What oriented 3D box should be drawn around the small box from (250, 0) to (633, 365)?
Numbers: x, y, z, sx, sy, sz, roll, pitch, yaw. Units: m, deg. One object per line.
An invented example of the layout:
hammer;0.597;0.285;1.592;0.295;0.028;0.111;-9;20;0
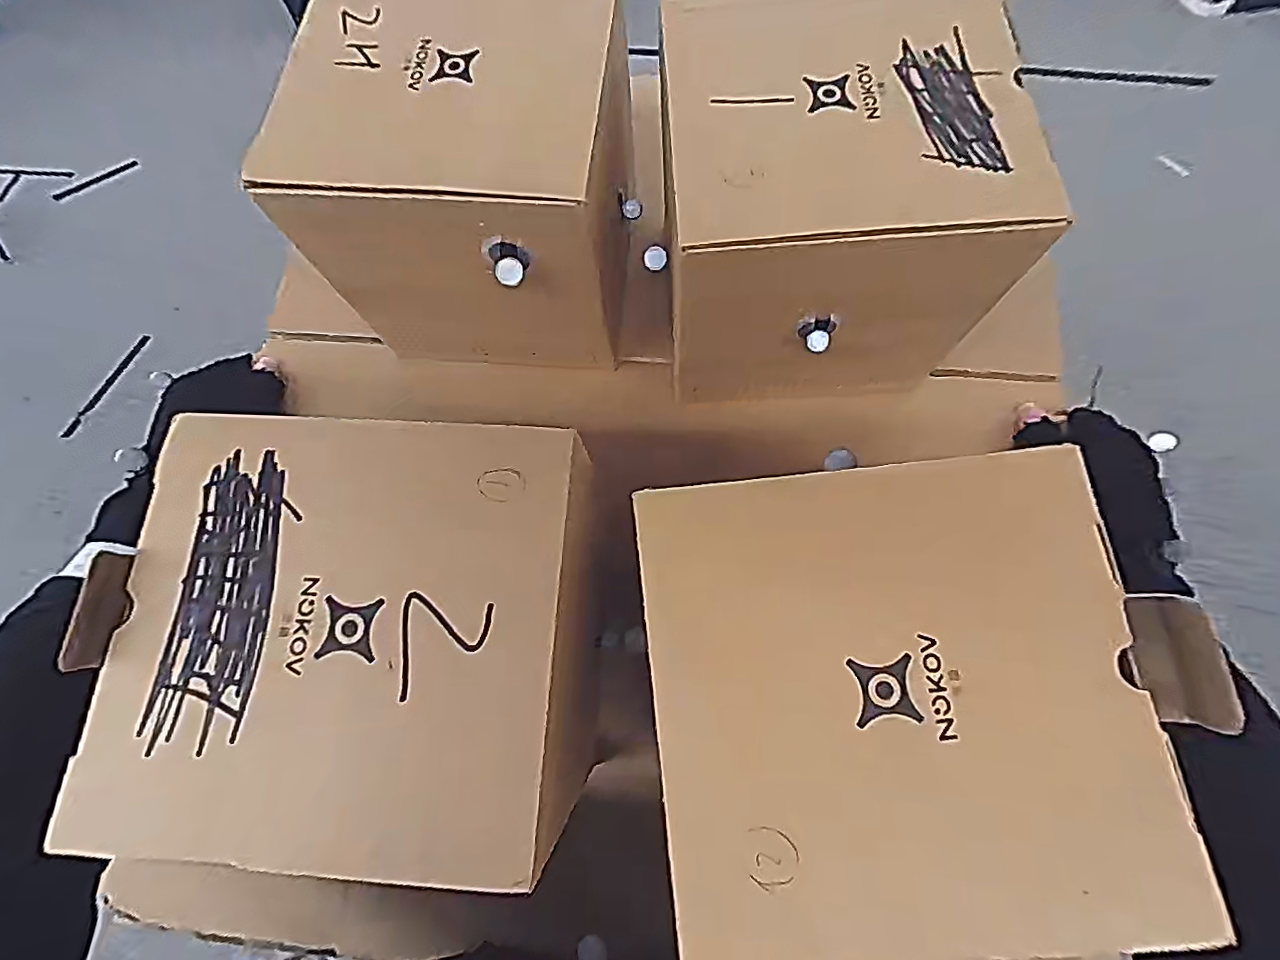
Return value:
small box;-0.101;-0.193;0.369;0.179;0.176;0.168;6;73;5
